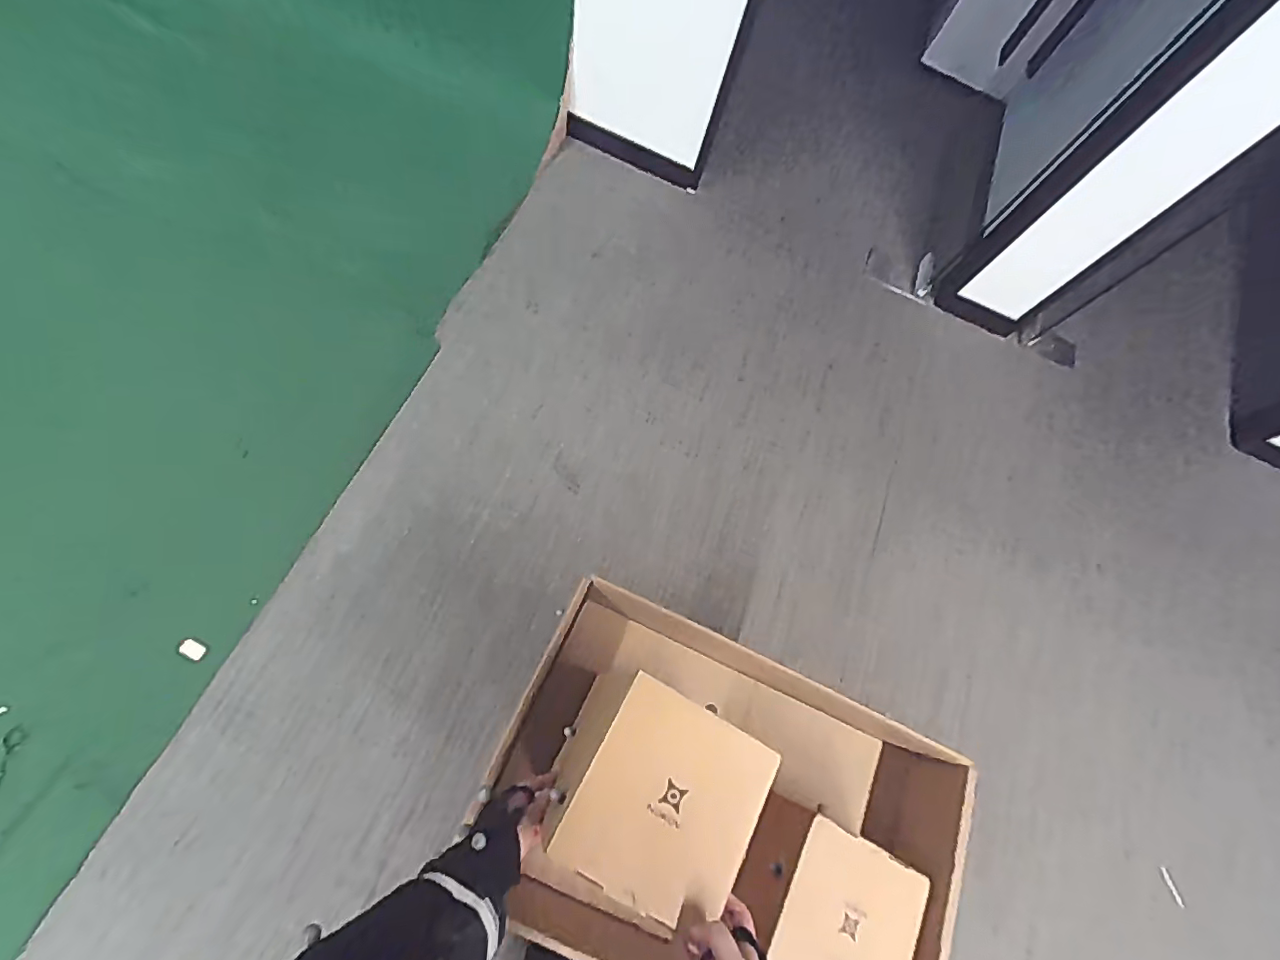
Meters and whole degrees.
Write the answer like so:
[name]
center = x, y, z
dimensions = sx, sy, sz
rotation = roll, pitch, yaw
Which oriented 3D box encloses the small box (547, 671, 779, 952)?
[small box]
center = 0.012, 0.321, 0.569
dimensions = 0.168, 0.176, 0.179
rotation = 31, 67, 0
